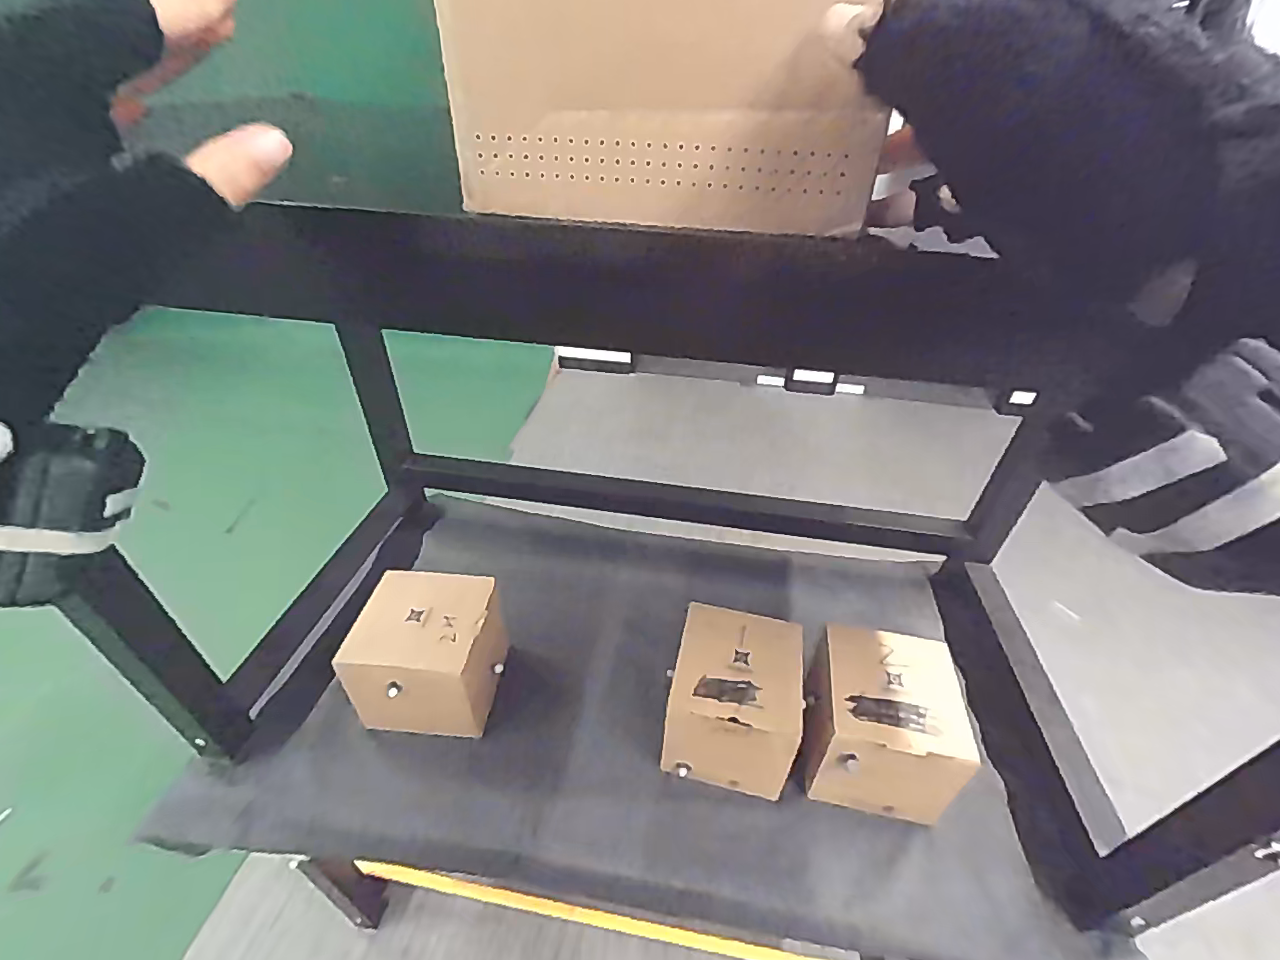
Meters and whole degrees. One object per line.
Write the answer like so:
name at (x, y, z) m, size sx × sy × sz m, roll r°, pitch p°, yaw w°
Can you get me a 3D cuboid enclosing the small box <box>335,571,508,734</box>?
small box at (-0.311, 0.259, 0.813) m, size 0.179 × 0.176 × 0.168 m, roll 5°, pitch 38°, yaw 2°
